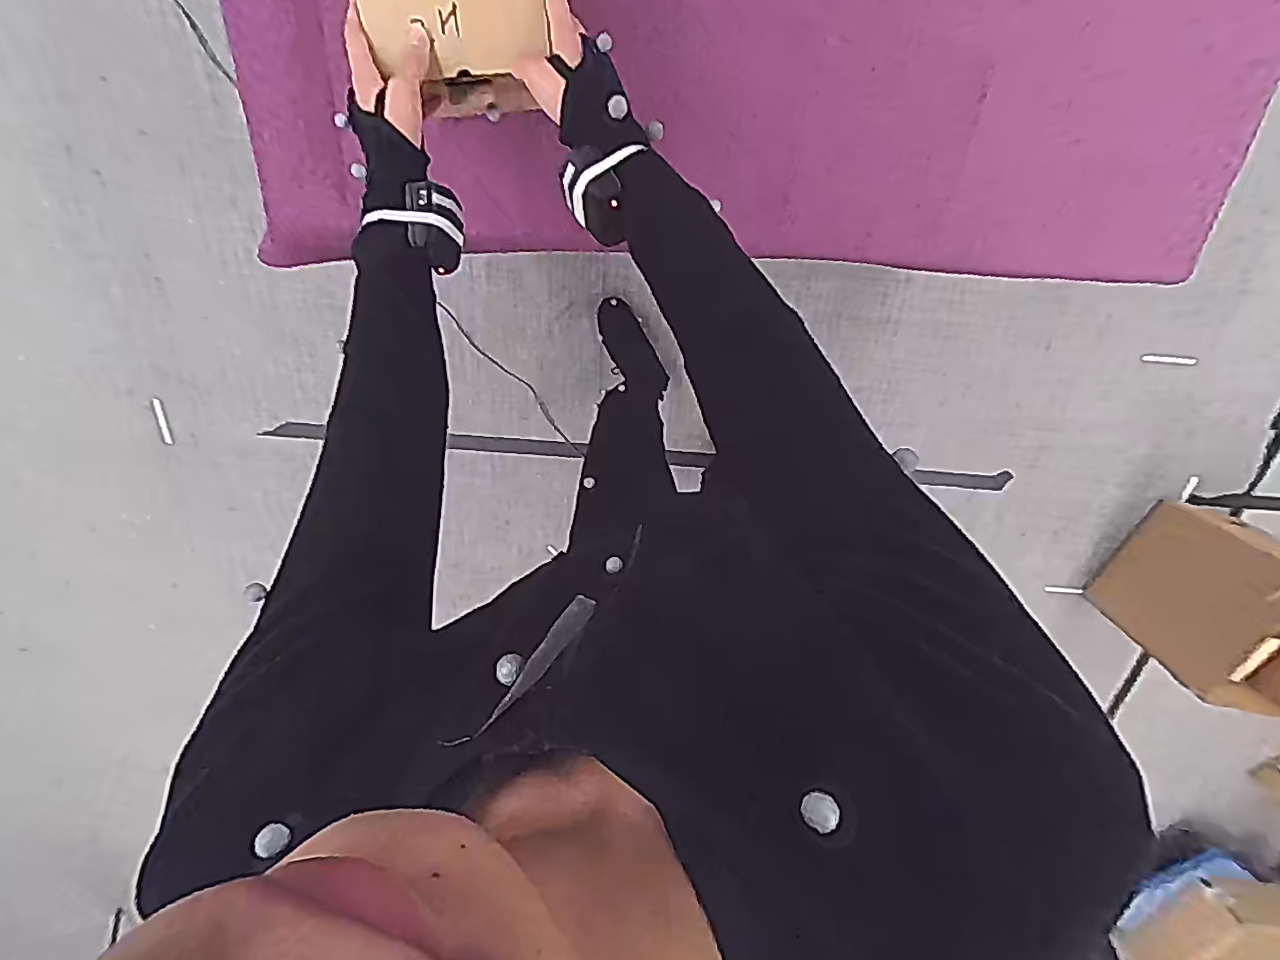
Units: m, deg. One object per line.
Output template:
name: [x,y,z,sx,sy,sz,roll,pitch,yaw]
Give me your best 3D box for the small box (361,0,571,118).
small box: [-0.166,-0.481,0.535,0.168,0.176,0.179,-4,116,2]
